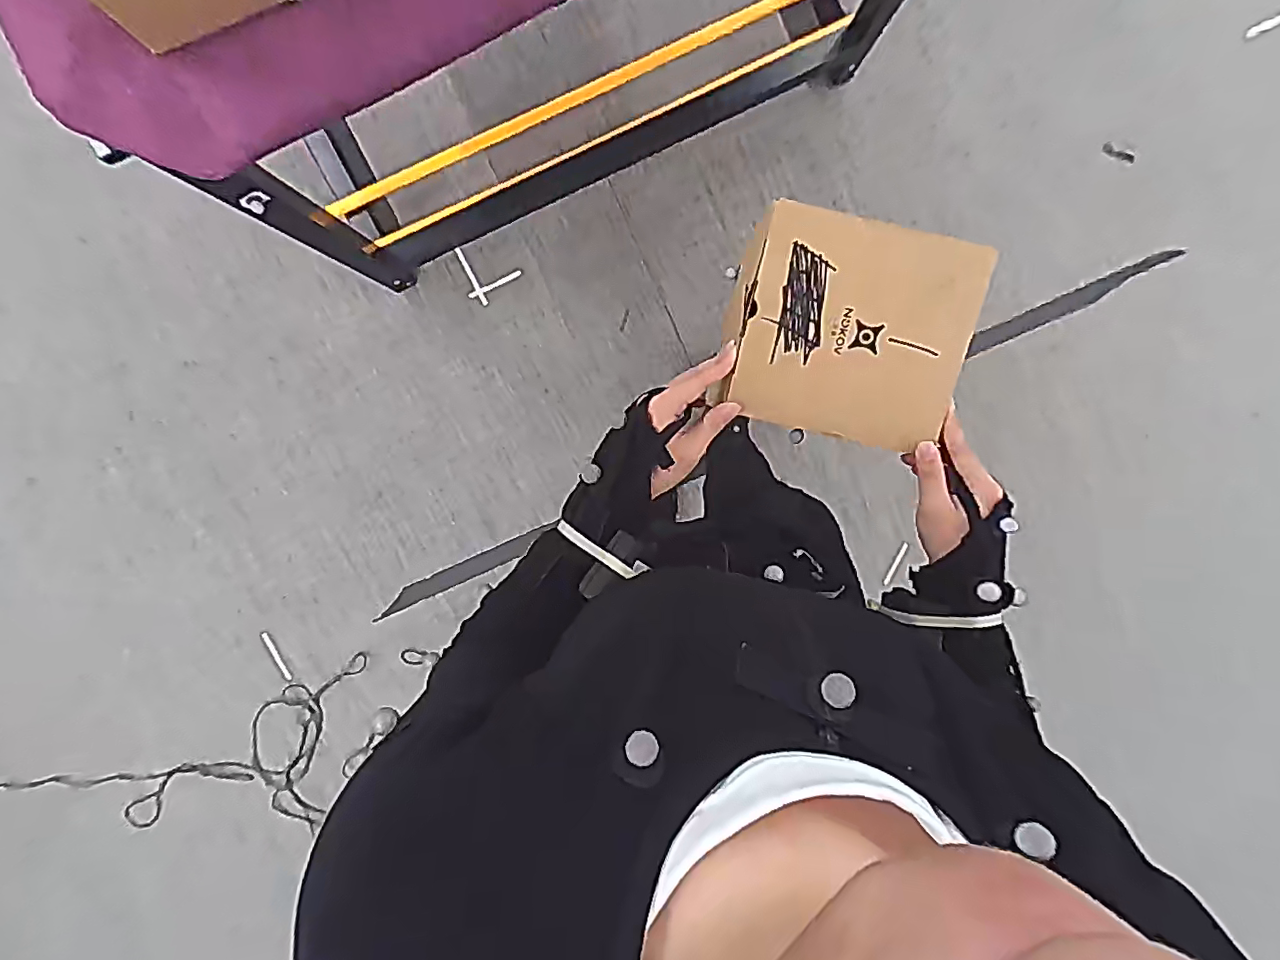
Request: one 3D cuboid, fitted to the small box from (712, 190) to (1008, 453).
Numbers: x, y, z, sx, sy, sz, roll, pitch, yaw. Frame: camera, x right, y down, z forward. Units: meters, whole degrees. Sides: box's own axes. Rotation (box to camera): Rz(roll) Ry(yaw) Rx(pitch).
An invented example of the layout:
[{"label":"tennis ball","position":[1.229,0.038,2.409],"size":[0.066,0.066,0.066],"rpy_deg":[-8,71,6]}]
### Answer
[{"label":"small box","position":[0.171,-0.130,0.488],"size":[0.179,0.176,0.168],"rpy_deg":[13,101,-1]}]
